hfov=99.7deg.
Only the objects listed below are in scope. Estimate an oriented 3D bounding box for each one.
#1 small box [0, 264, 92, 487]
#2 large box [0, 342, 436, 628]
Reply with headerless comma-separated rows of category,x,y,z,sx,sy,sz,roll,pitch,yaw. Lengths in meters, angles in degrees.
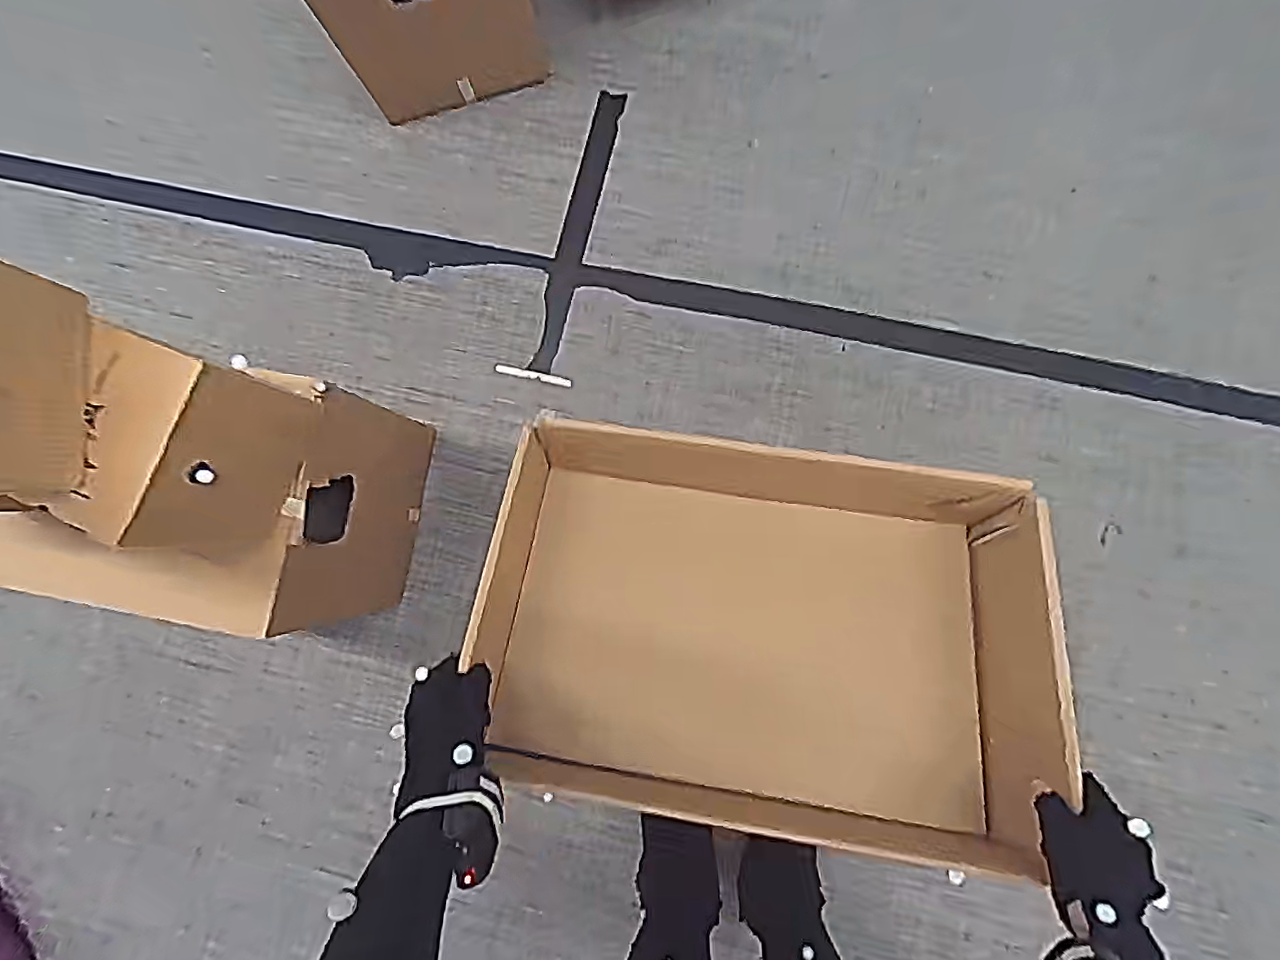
small box,-0.566,-0.082,0.399,0.168,0.176,0.179,-4,85,3
large box,-0.581,0.011,0.801,0.408,0.320,0.320,9,86,3
